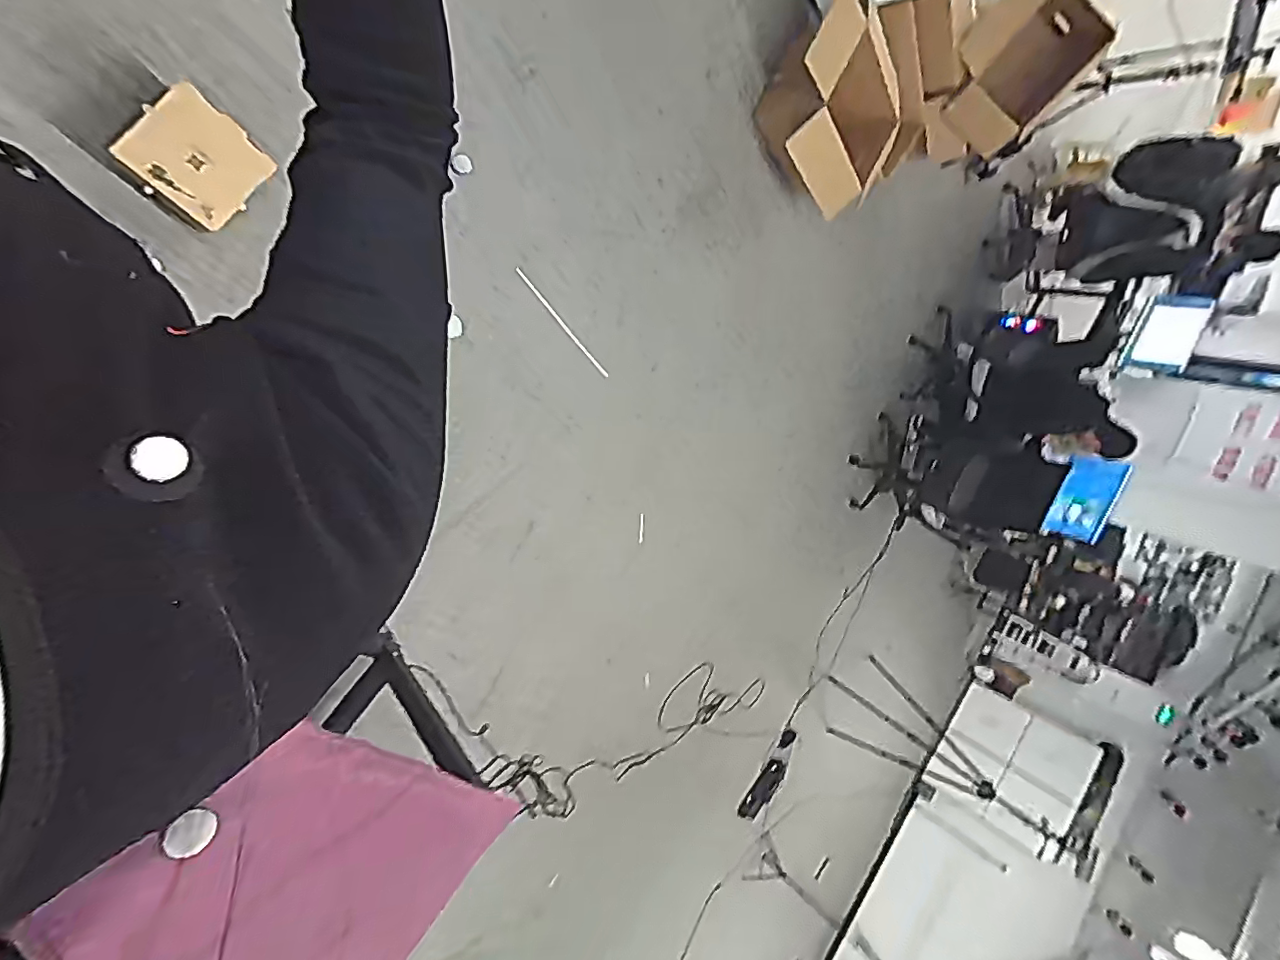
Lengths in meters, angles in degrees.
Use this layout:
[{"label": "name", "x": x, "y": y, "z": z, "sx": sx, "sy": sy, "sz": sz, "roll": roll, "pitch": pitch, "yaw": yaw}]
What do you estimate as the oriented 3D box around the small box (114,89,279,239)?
[{"label": "small box", "x": -0.821, "y": -0.574, "z": 1.000, "sx": 0.179, "sy": 0.176, "sz": 0.168, "roll": -55, "pitch": 136, "yaw": -11}]
